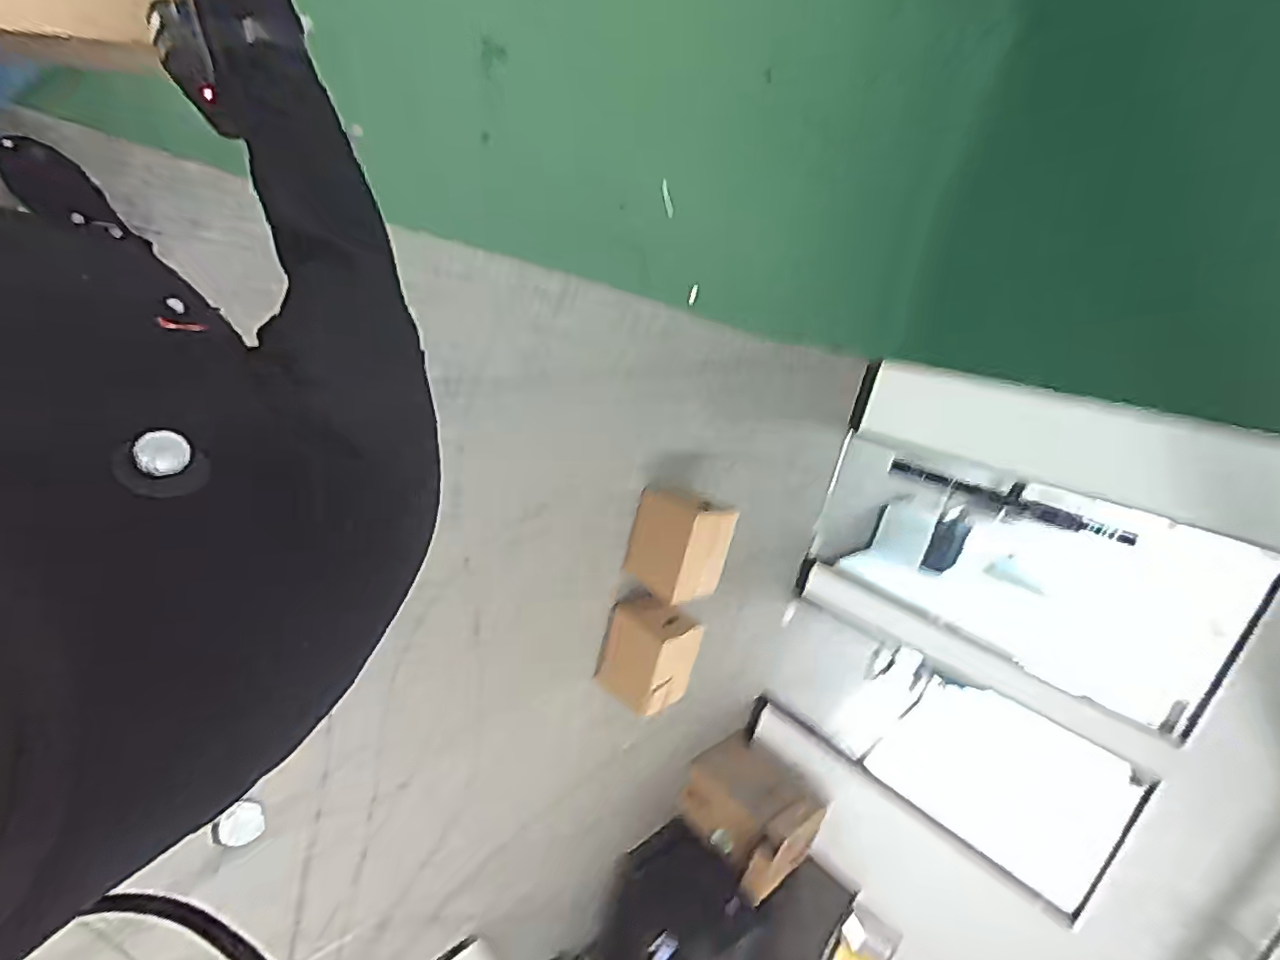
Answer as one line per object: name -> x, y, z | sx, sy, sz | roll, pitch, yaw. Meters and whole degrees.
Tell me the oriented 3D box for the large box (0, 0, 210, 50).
large box -> -0.566, -0.466, 0.312 | 0.408, 0.320, 0.320 | -23, 131, -36
